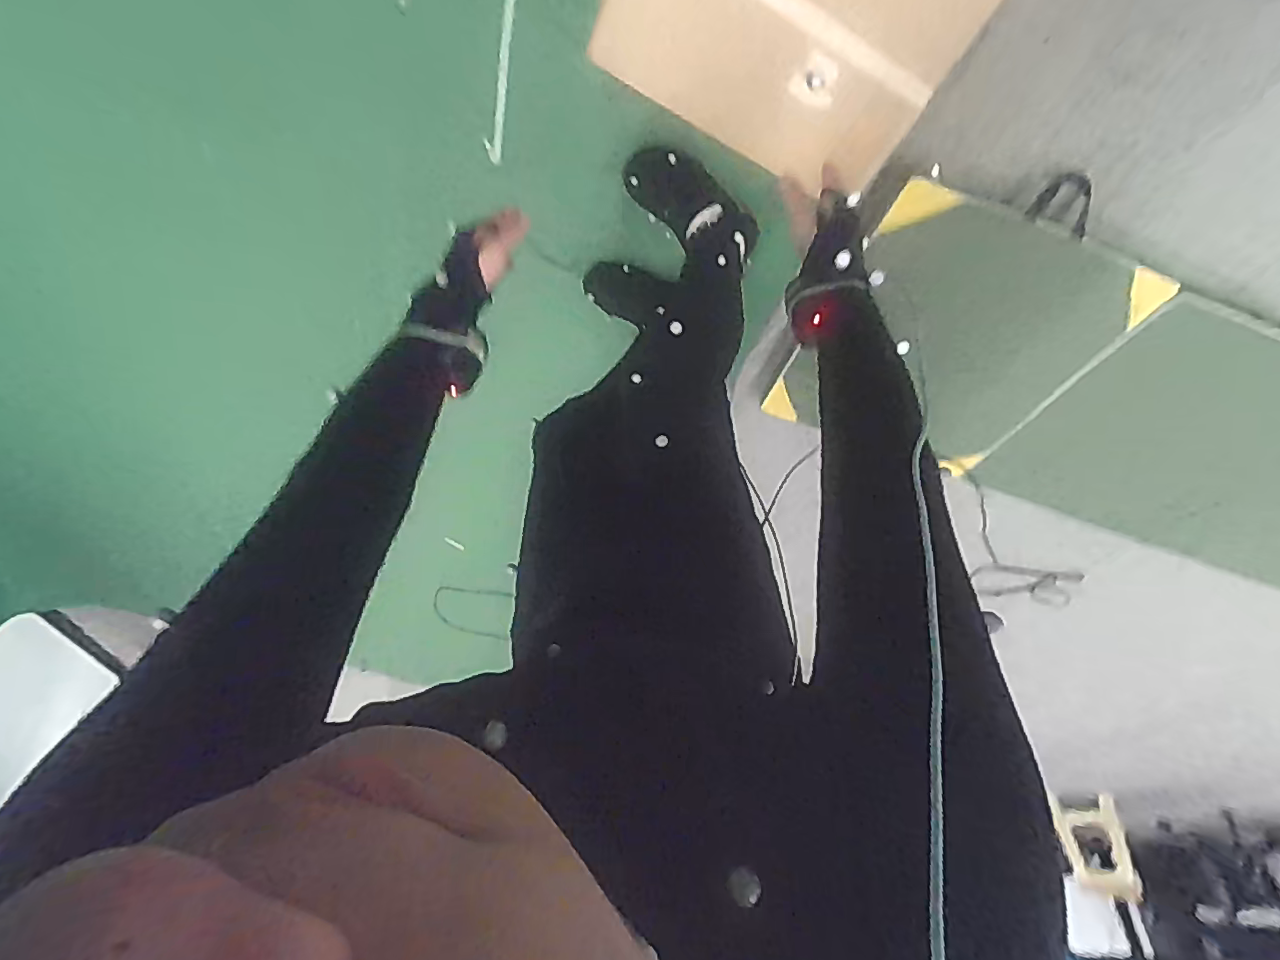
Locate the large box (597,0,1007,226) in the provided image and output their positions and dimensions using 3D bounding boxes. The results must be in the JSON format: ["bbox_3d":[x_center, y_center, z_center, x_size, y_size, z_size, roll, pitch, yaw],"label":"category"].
[{"bbox_3d":[0.197,-0.642,0.756,0.408,0.320,0.320,23,135,-14],"label":"large box"}]
